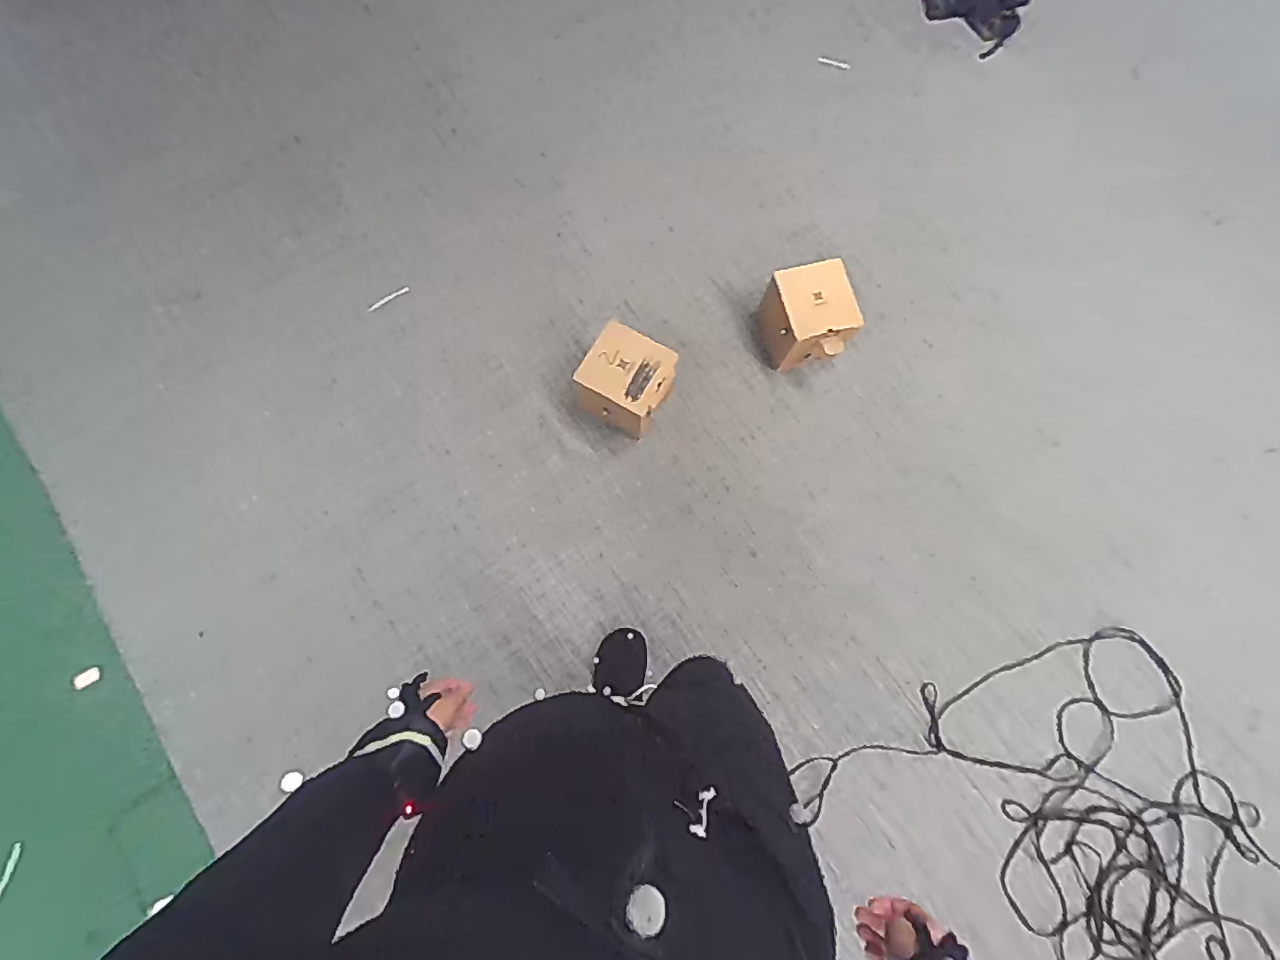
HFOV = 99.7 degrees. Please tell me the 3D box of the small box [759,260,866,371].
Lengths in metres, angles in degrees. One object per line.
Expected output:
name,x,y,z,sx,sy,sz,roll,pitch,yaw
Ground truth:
small box,0.399,-0.385,1.285,0.168,0.176,0.179,-14,79,-6
